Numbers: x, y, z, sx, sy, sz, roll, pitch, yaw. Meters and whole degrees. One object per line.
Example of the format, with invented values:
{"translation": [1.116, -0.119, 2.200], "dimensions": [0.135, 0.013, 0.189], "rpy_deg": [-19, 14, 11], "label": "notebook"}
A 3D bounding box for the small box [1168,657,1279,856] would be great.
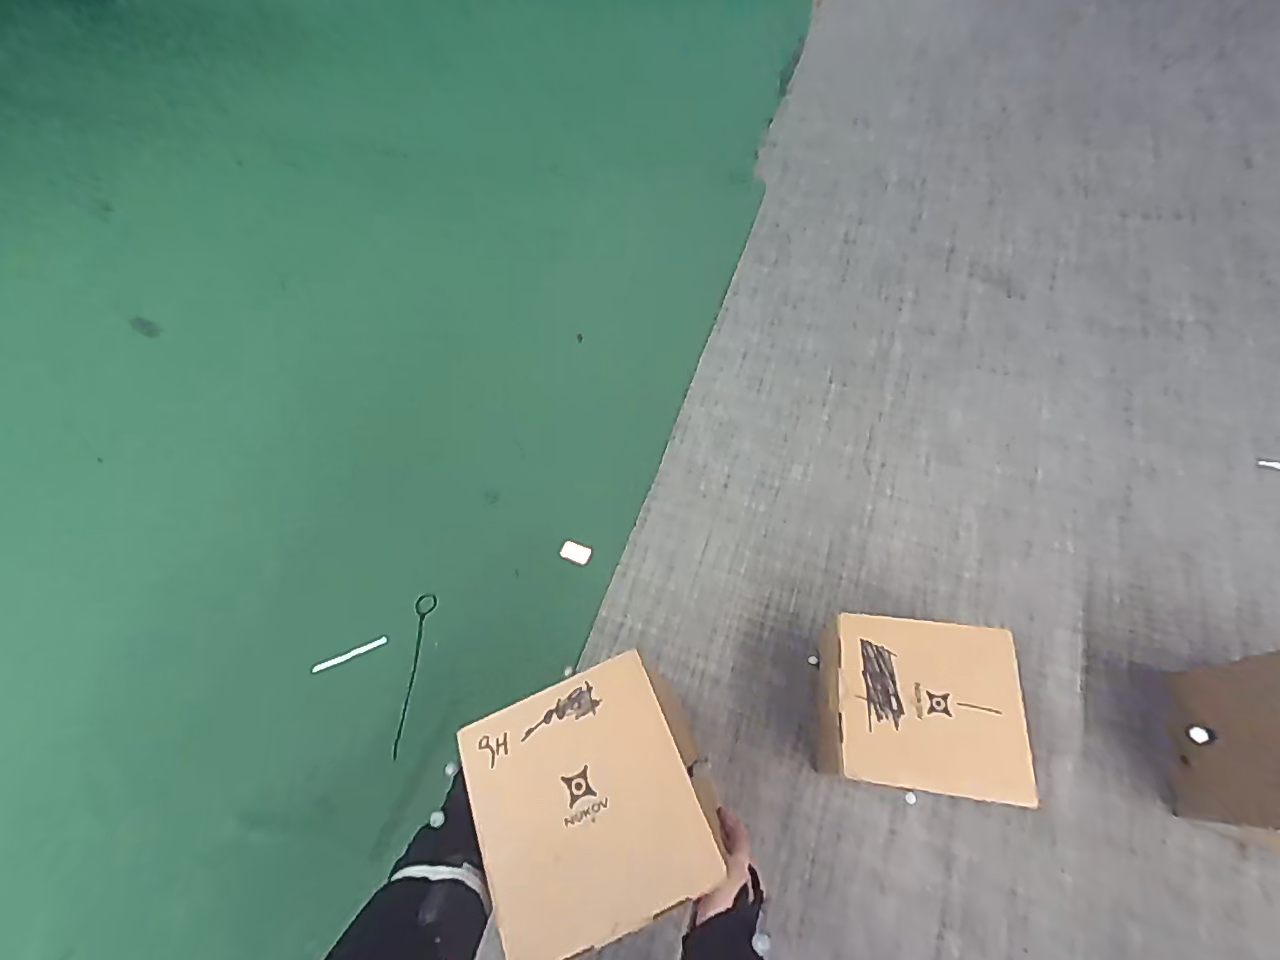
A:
{"translation": [0.689, 0.291, 0.538], "dimensions": [0.179, 0.176, 0.168], "rpy_deg": [15, 66, 18], "label": "small box"}

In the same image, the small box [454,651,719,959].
{"translation": [-0.037, 0.278, 0.481], "dimensions": [0.168, 0.176, 0.179], "rpy_deg": [-23, 62, -4], "label": "small box"}
